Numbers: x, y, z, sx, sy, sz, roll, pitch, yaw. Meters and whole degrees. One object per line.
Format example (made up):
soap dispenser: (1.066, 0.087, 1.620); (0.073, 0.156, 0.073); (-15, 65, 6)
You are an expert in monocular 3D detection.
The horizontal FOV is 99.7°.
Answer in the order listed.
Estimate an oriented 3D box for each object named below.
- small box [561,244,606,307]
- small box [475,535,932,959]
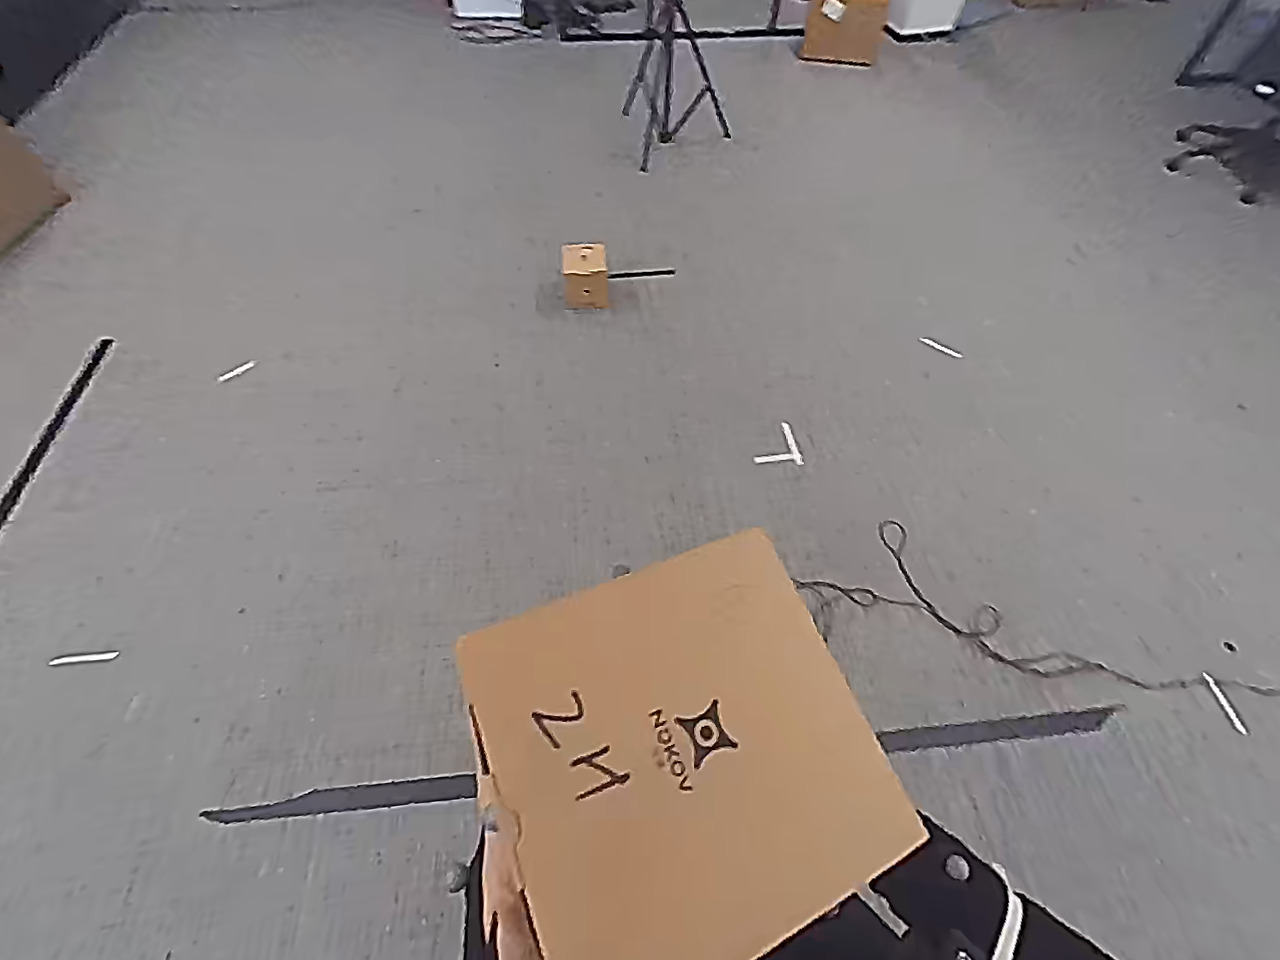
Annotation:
small box: (-0.221, -0.802, 2.137); (0.168, 0.176, 0.179); (-3, 58, -3)
small box: (0.015, 0.156, 0.320); (0.179, 0.176, 0.168); (-16, 67, -18)
